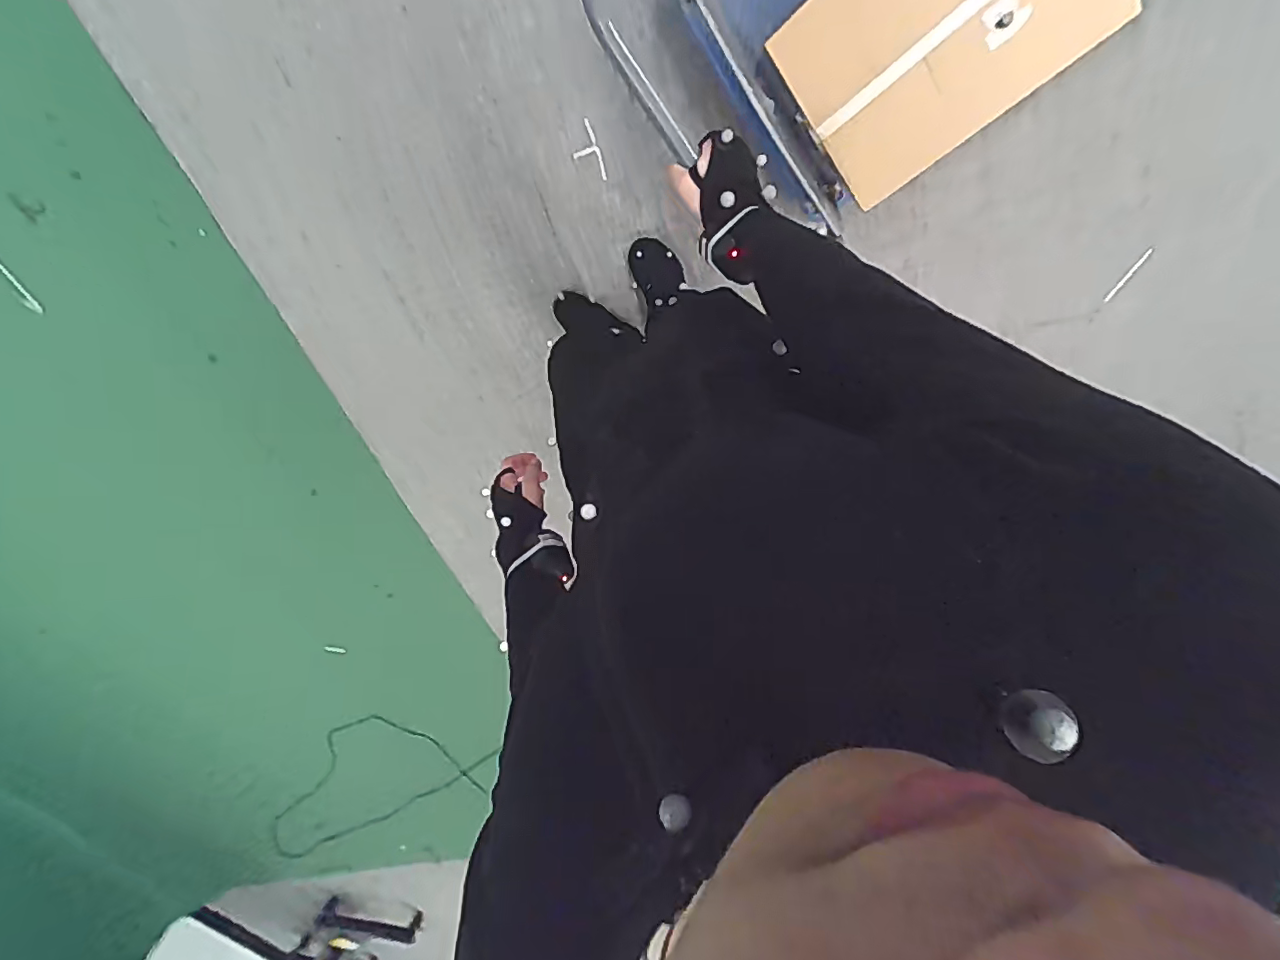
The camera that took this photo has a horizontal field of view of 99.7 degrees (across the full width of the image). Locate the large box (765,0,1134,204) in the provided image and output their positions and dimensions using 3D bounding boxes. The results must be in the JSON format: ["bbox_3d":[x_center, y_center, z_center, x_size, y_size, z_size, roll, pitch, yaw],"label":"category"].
[{"bbox_3d":[0.461,-0.753,0.900,0.408,0.320,0.320,-30,116,30],"label":"large box"}]
